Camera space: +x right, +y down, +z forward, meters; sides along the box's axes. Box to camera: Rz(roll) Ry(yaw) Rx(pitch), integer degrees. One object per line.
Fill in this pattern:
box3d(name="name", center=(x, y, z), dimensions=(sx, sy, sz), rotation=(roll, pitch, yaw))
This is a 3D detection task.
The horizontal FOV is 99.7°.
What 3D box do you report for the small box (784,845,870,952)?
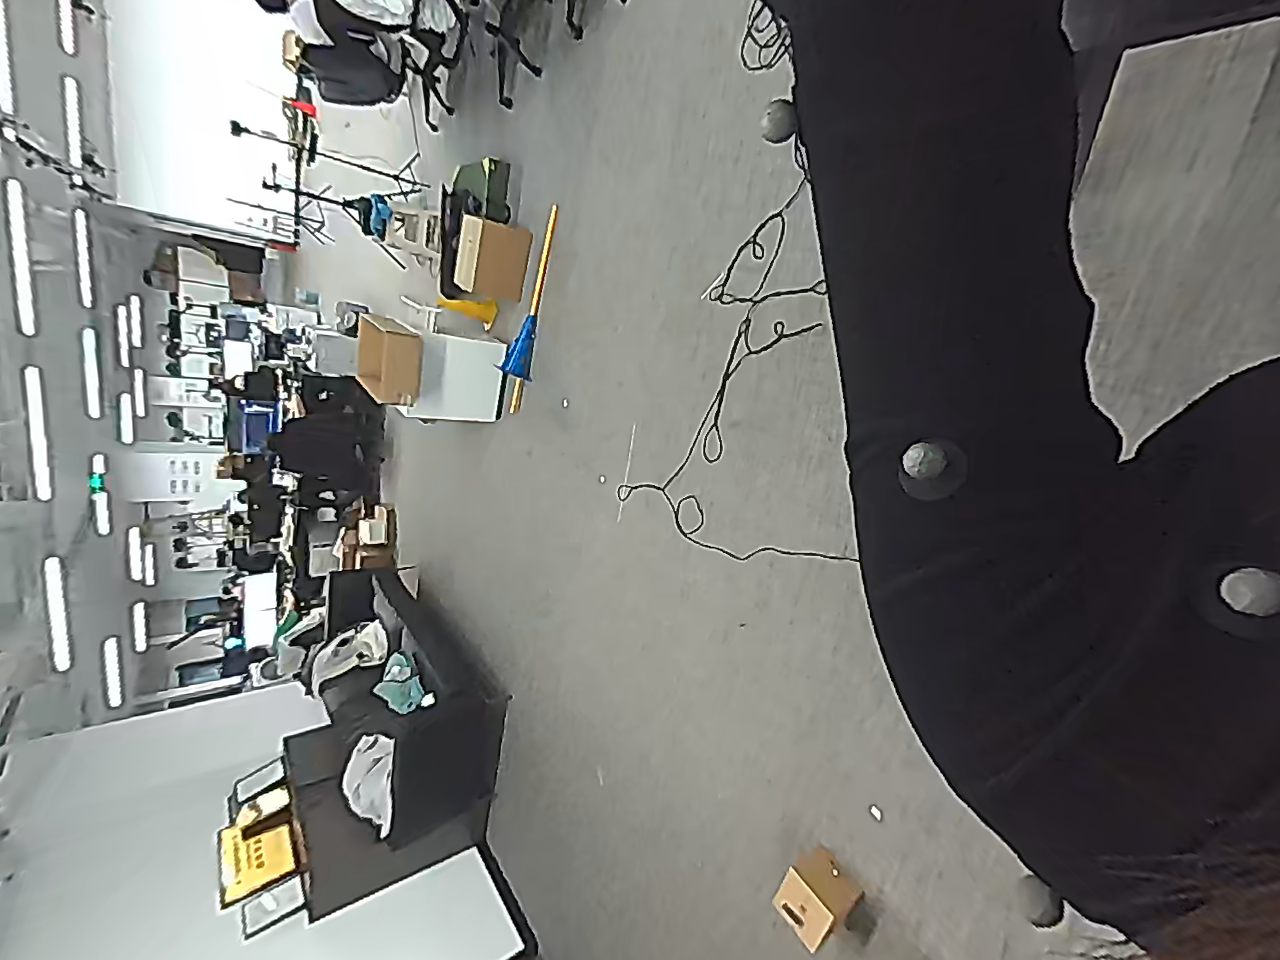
box3d(name="small box", center=(0.586, 1.297, 1.686), dimensions=(0.168, 0.176, 0.179), rotation=(35, 117, 44))
